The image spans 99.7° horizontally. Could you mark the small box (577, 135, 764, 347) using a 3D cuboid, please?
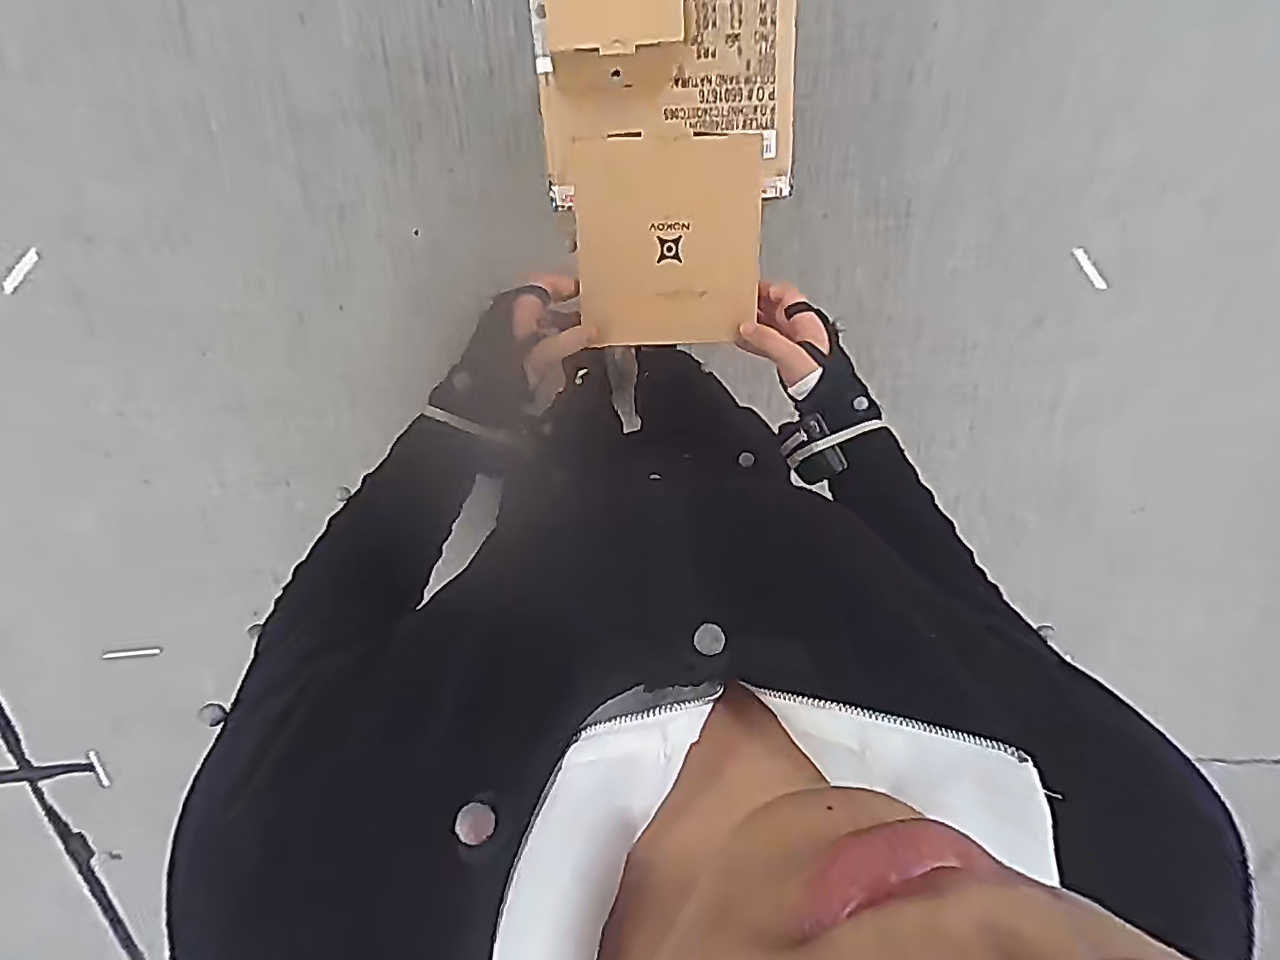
[{"bbox_3d":[0.023,-0.234,0.561,0.168,0.176,0.179,-3,108,-2],"label":"small box"}]

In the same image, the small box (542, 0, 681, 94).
[{"bbox_3d":[-0.040,-0.621,0.697,0.168,0.176,0.179,-5,112,-2],"label":"small box"}]
